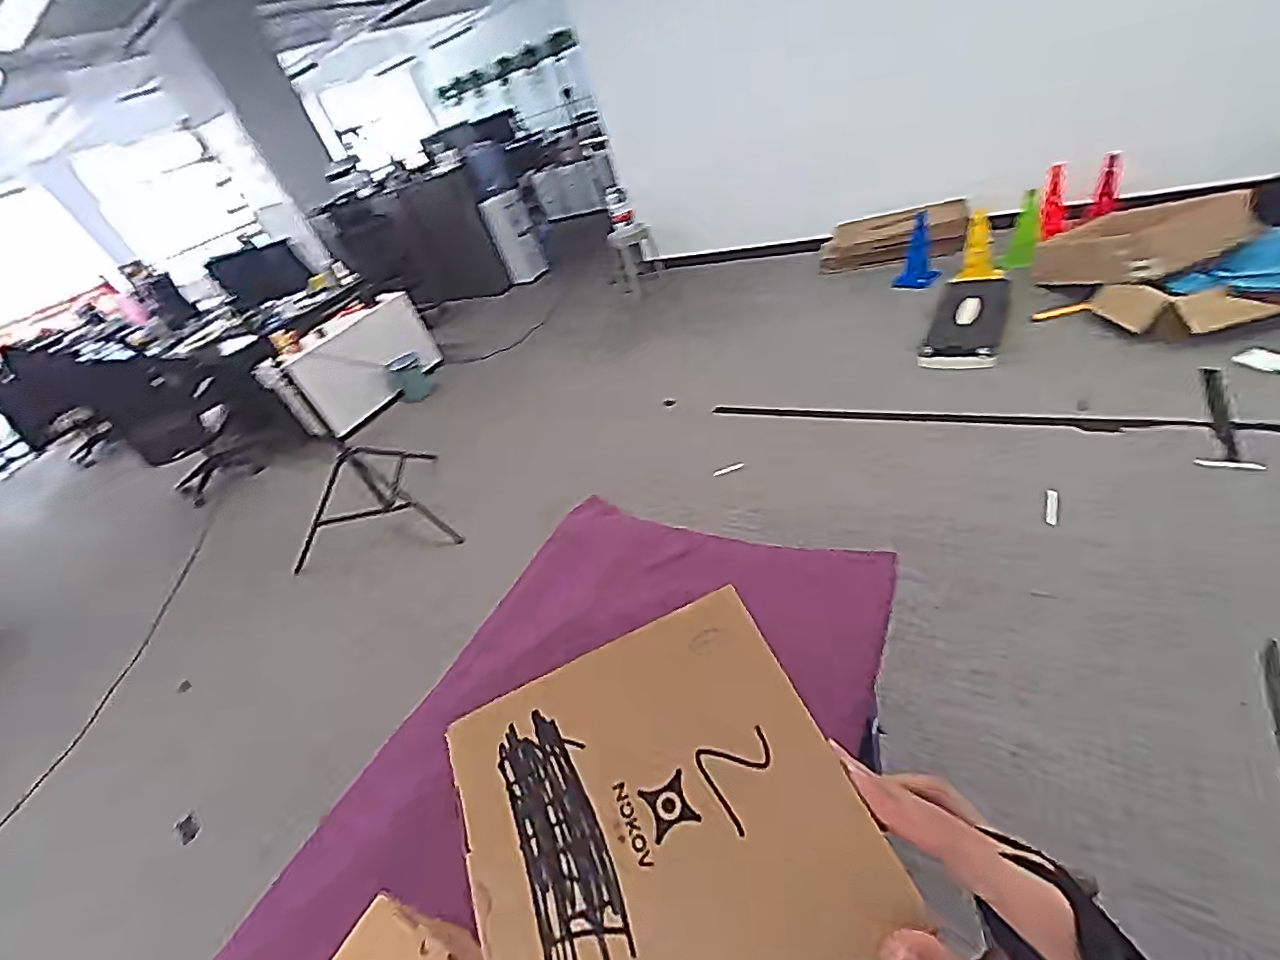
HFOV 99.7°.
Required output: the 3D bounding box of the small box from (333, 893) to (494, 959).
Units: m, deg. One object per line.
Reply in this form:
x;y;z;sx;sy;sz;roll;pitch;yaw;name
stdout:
-0.202;0.526;0.478;0.168;0.176;0.179;7;44;33;small box
